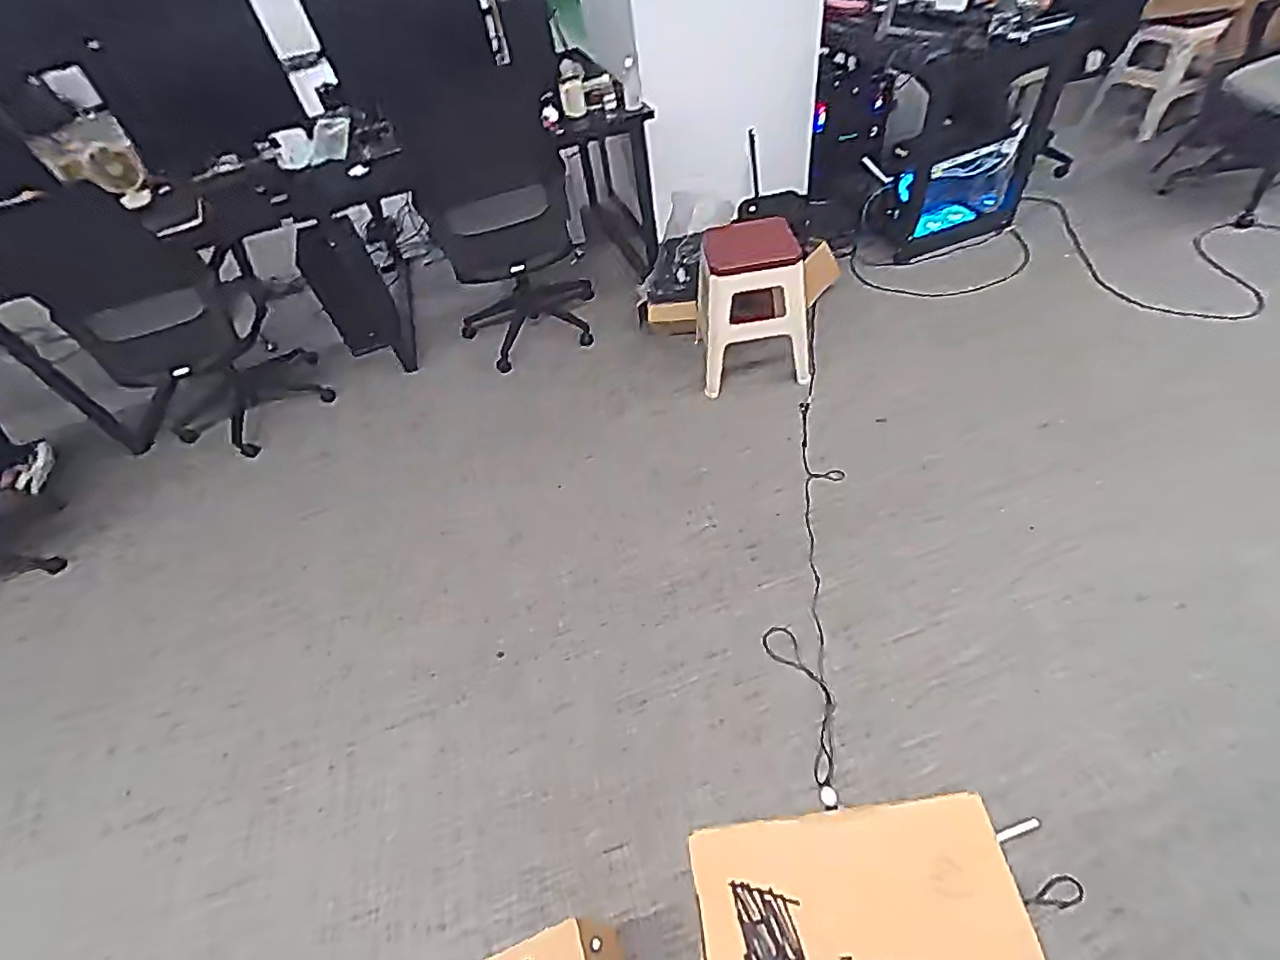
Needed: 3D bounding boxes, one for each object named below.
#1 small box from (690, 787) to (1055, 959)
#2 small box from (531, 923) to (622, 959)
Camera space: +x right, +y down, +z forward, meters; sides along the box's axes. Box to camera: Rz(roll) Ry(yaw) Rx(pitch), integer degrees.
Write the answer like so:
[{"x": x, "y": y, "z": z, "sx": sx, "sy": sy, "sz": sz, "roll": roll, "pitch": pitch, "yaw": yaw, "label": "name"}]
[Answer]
[{"x": 0.140, "y": 0.302, "z": 0.340, "sx": 0.179, "sy": 0.176, "sz": 0.168, "roll": -12, "pitch": 56, "yaw": 7, "label": "small box"}, {"x": -0.105, "y": 0.909, "z": 0.928, "sx": 0.168, "sy": 0.176, "sz": 0.179, "roll": -25, "pitch": 50, "yaw": -10, "label": "small box"}]
